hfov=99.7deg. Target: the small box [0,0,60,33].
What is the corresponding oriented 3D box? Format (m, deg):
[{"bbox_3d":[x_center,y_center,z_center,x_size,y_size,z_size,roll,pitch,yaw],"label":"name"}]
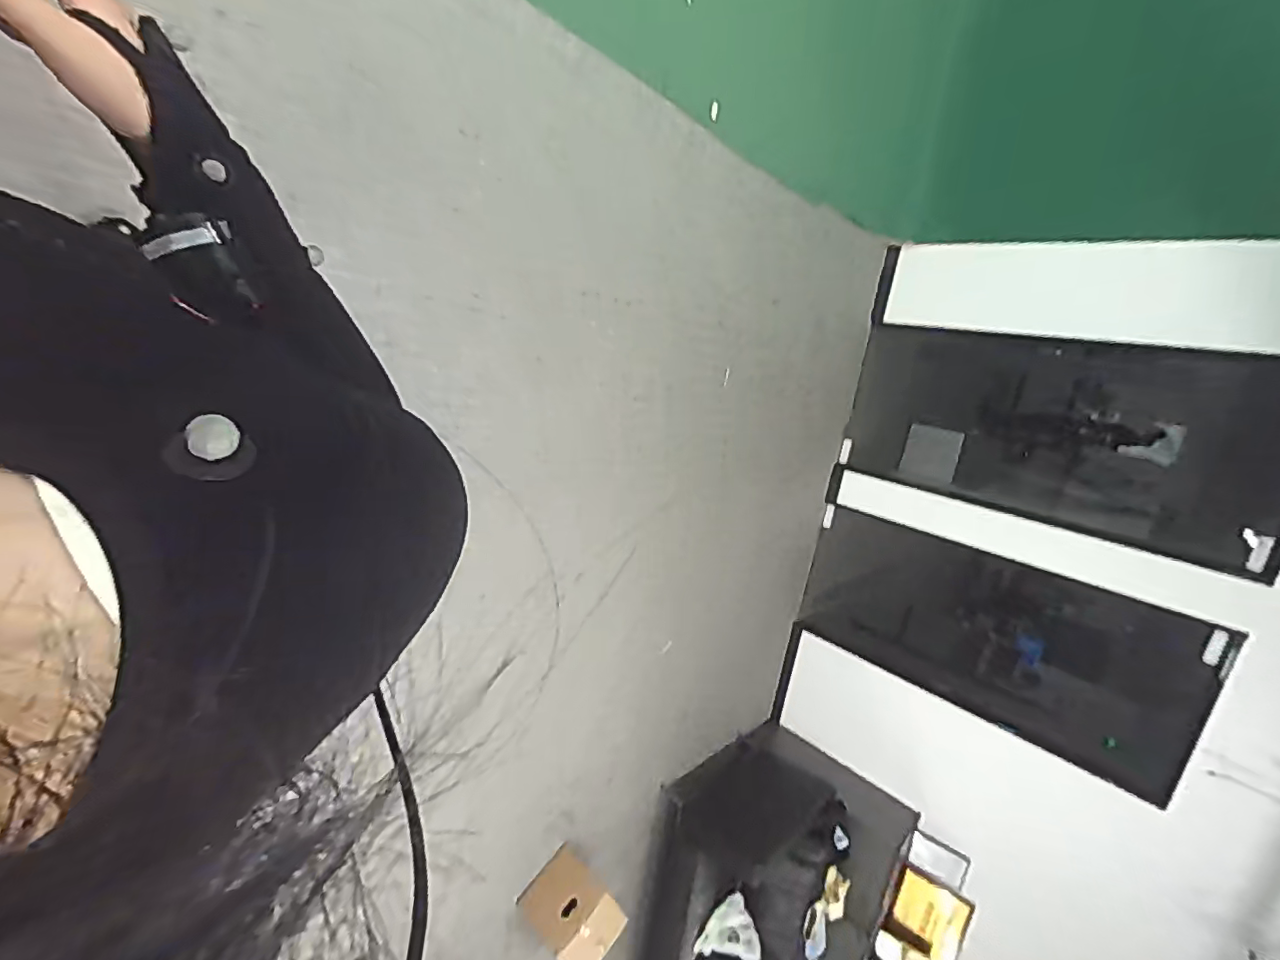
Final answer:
[{"bbox_3d":[-0.416,-0.338,0.246,0.168,0.176,0.179,-19,131,-43],"label":"small box"}]
